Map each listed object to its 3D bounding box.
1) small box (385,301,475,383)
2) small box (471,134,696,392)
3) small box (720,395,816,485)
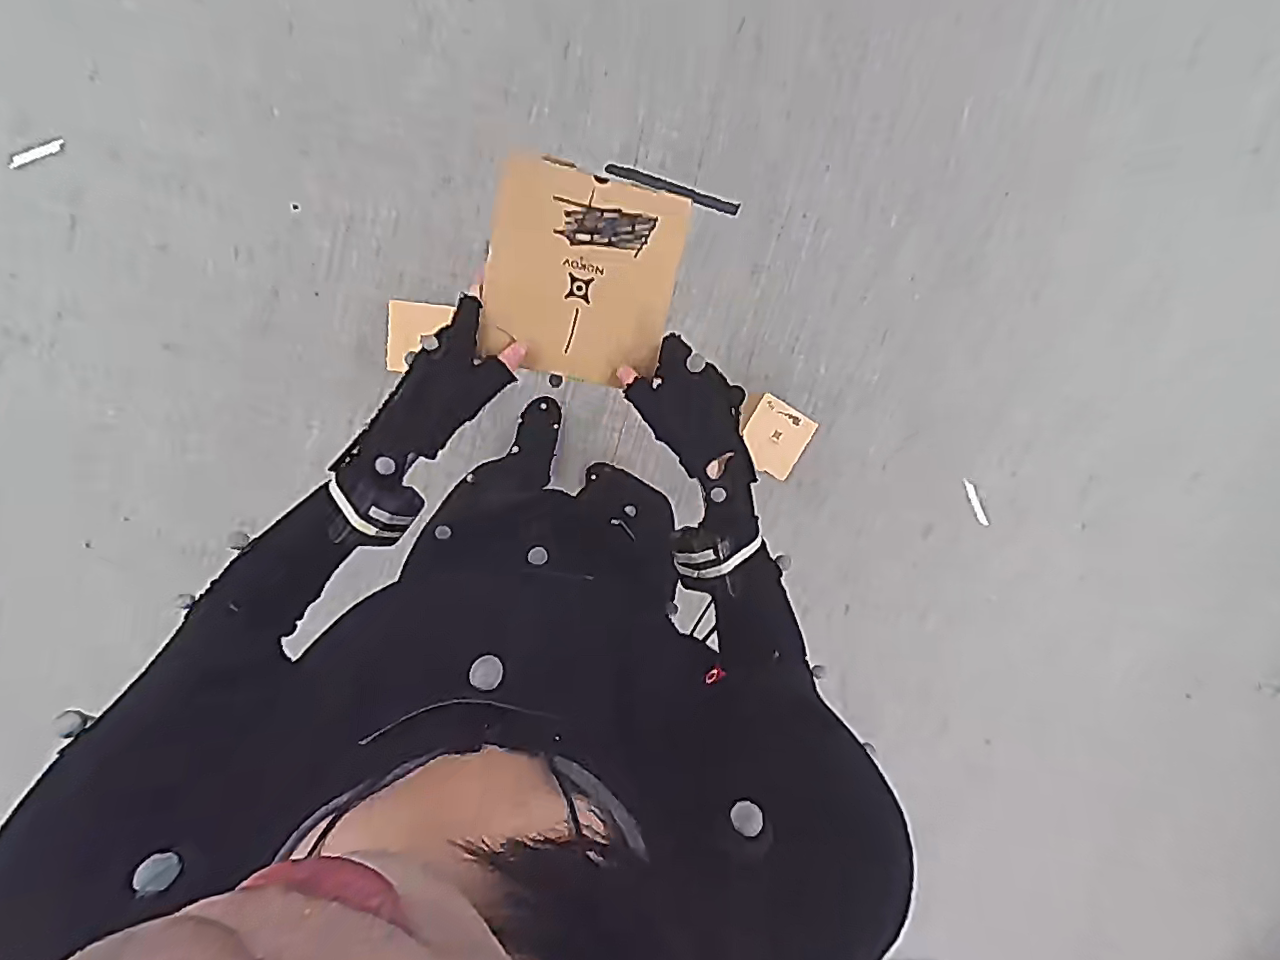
[{"bbox_3d":[-0.510,-0.335,1.343,0.179,0.176,0.168,5,96,-5],"label":"small box"},{"bbox_3d":[-0.060,-0.196,0.535,0.168,0.176,0.179,11,102,-11],"label":"small box"},{"bbox_3d":[0.330,-0.110,1.446,0.168,0.176,0.179,31,95,-9],"label":"small box"}]
